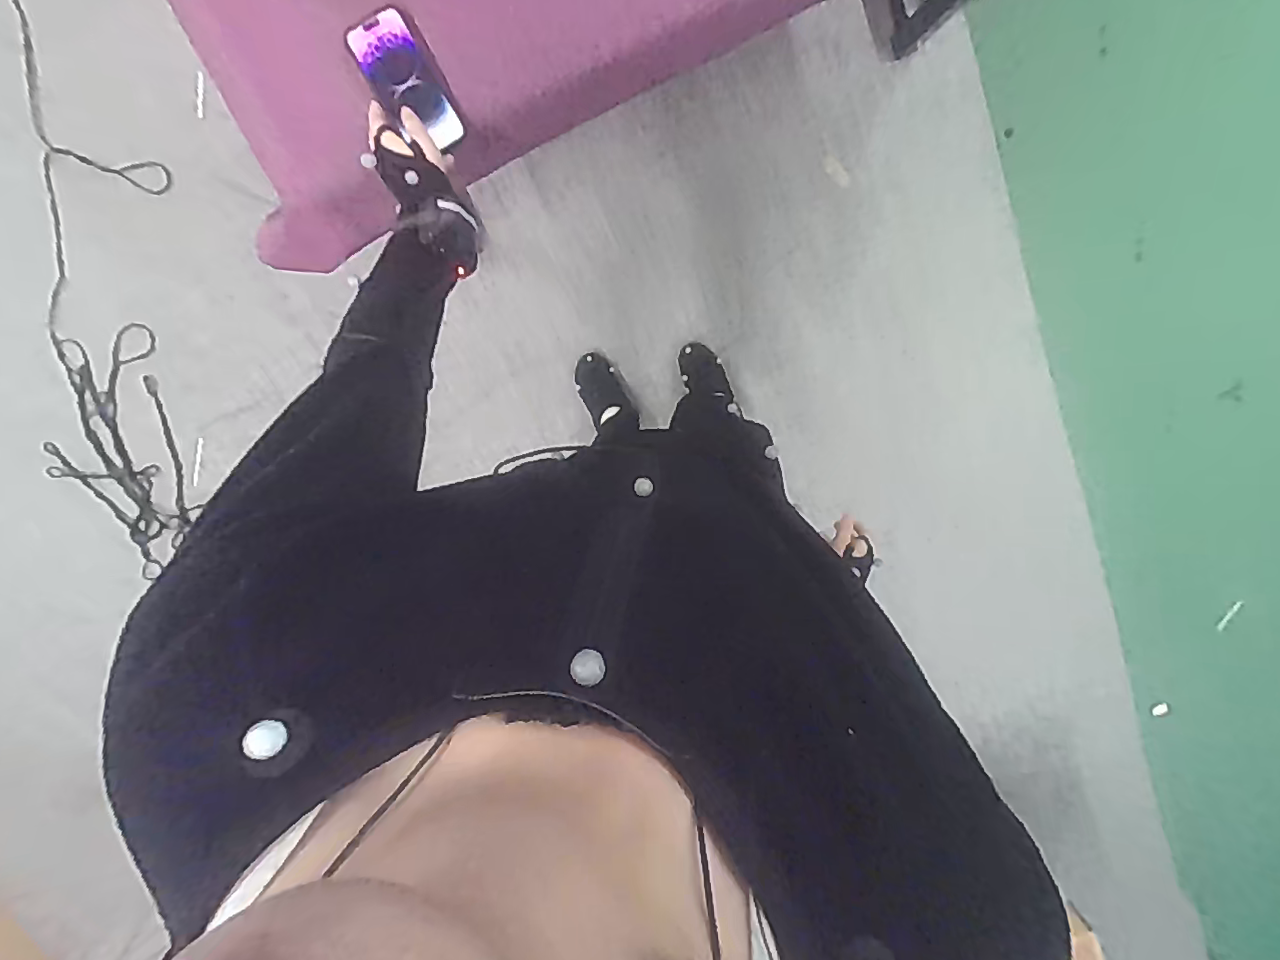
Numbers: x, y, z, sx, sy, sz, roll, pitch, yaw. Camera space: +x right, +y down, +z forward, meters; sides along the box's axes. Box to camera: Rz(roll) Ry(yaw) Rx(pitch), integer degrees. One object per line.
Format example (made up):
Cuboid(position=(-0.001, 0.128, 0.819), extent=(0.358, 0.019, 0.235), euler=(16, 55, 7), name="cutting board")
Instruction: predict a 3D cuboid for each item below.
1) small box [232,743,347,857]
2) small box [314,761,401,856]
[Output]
Cuboid(position=(-0.933, 0.858, 1.464), extent=(0.179, 0.176, 0.168), euler=(-41, 104, 10), name="small box")
Cuboid(position=(-0.884, 1.008, 1.678), extent=(0.168, 0.176, 0.179), euler=(-25, 106, 5), name="small box")
